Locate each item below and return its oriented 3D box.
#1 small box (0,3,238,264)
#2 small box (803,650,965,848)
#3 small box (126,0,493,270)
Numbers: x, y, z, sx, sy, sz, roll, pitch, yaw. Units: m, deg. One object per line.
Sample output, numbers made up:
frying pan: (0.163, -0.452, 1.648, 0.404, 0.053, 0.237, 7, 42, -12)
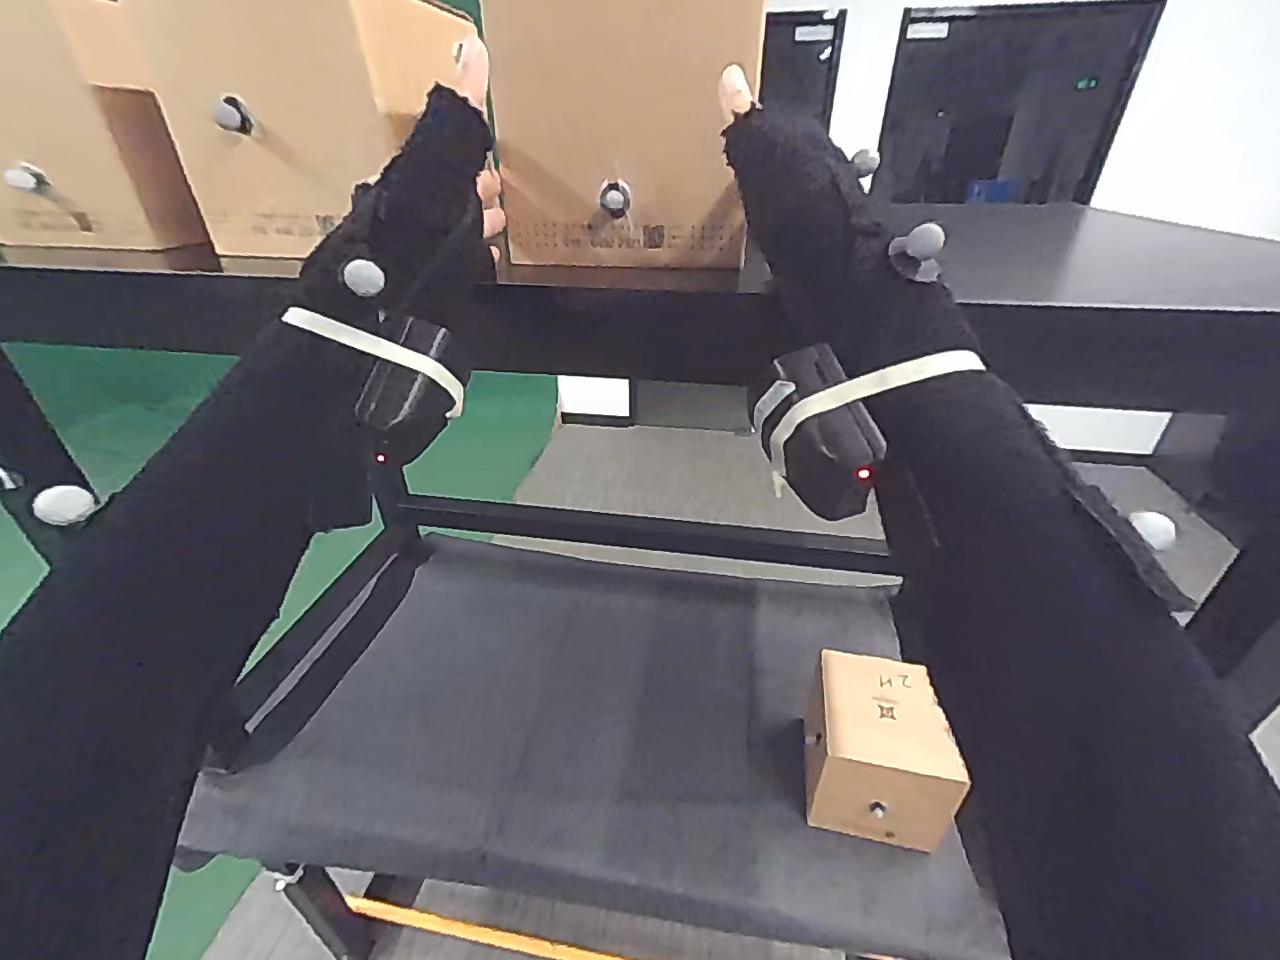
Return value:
small box: (-0.455, -0.303, 0.490, 0.168, 0.176, 0.179, 5, 33, 9)
small box: (0.328, 0.377, 0.765, 0.168, 0.176, 0.179, 7, 31, 12)
small box: (-0.236, -0.275, 0.445, 0.168, 0.176, 0.179, 5, 31, 10)
